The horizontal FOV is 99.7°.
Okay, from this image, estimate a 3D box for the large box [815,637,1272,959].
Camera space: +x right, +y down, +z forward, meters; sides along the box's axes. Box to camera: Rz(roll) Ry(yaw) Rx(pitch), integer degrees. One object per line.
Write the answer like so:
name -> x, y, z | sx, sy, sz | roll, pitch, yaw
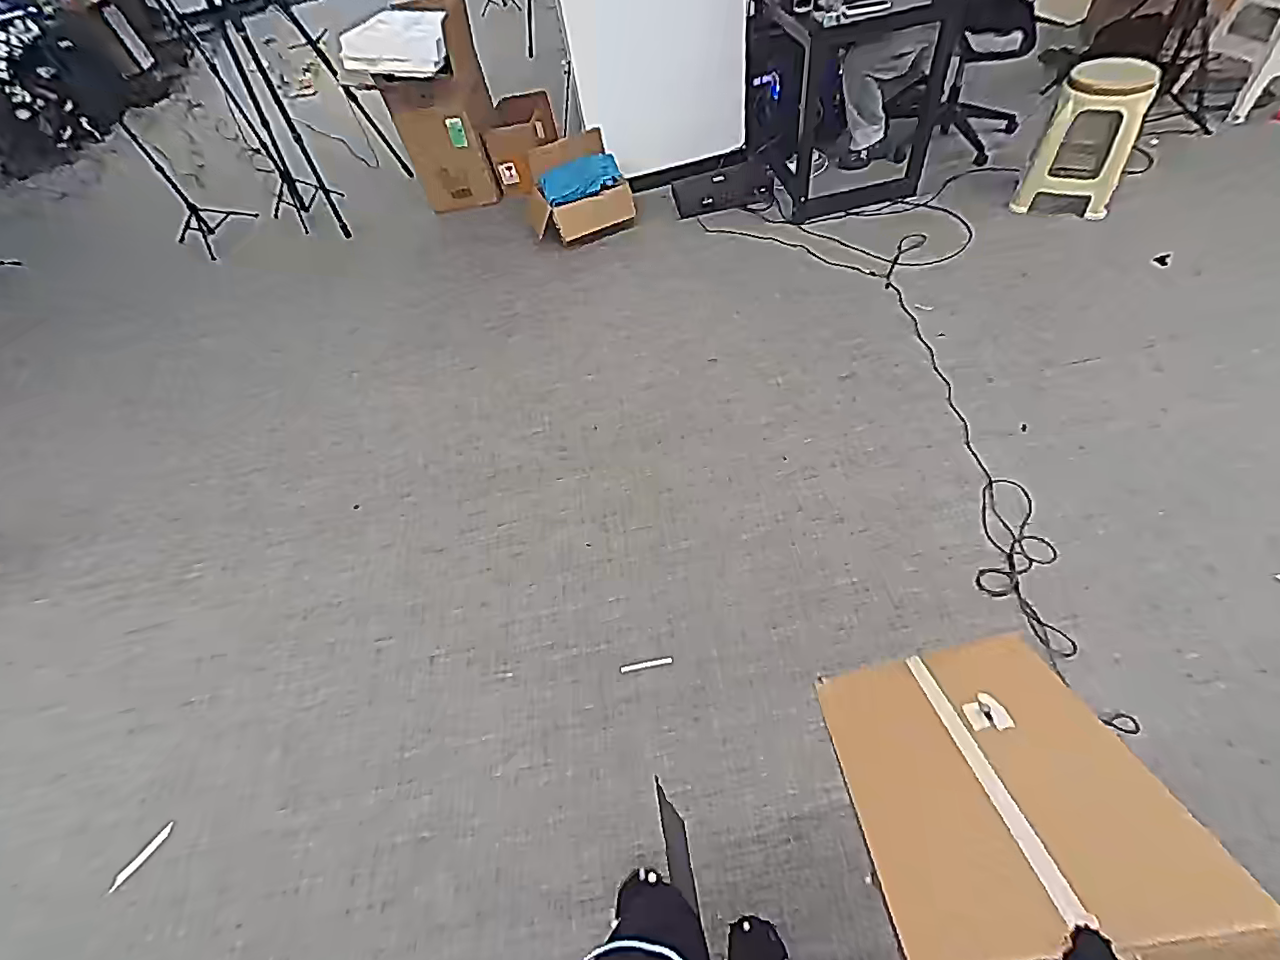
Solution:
large box -> 0.472, 0.489, 0.720 | 0.320, 0.320, 0.408 | -17, 18, 9
